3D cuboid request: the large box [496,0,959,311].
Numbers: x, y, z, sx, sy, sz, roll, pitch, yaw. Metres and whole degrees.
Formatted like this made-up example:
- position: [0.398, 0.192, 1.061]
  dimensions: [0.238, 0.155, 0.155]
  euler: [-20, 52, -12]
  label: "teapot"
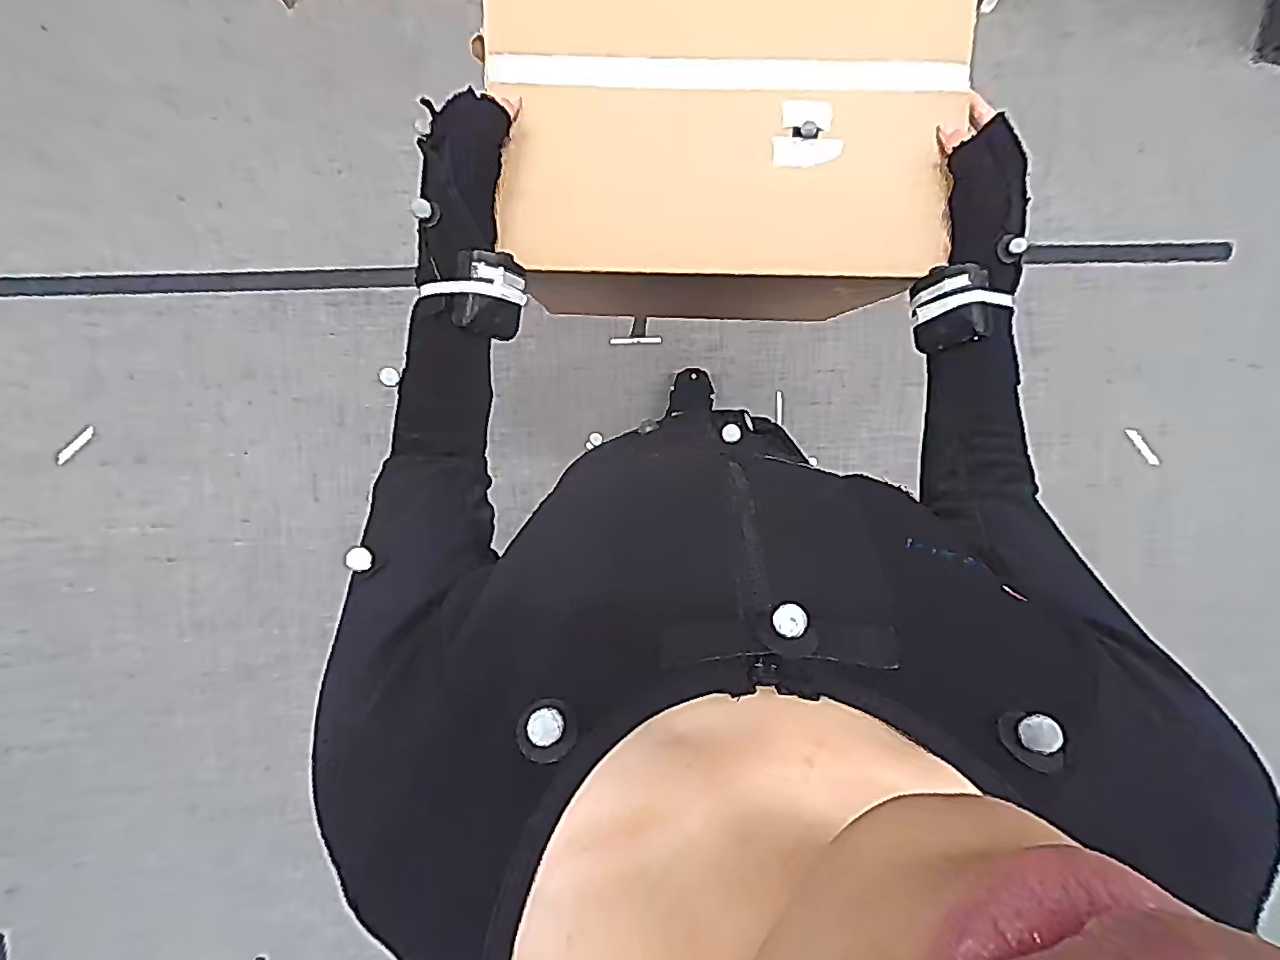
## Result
- position: [0.070, -0.375, 0.619]
  dimensions: [0.408, 0.320, 0.320]
  euler: [0, 101, -1]
  label: "large box"
